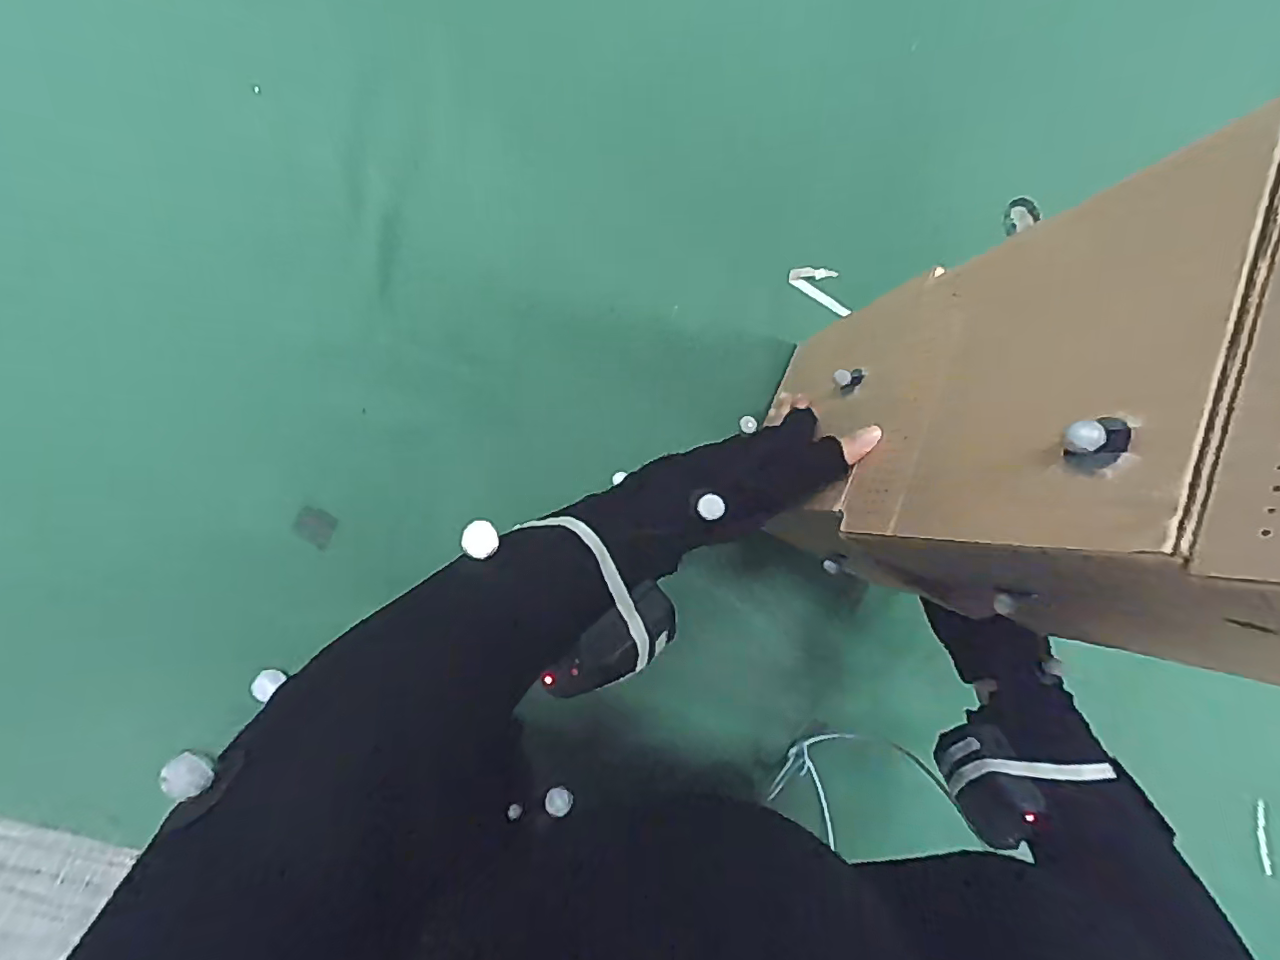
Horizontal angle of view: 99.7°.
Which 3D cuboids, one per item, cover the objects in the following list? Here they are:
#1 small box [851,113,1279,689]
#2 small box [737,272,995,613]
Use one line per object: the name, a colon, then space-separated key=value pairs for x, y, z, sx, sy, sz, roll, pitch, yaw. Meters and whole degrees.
small box: x=0.238 y=-0.018 z=0.266 sx=0.168 sy=0.176 sz=0.179 roll=24 pitch=83 yaw=-13
small box: x=0.201 y=-0.020 z=0.426 sx=0.168 sy=0.176 sz=0.179 roll=27 pitch=84 yaw=-12
